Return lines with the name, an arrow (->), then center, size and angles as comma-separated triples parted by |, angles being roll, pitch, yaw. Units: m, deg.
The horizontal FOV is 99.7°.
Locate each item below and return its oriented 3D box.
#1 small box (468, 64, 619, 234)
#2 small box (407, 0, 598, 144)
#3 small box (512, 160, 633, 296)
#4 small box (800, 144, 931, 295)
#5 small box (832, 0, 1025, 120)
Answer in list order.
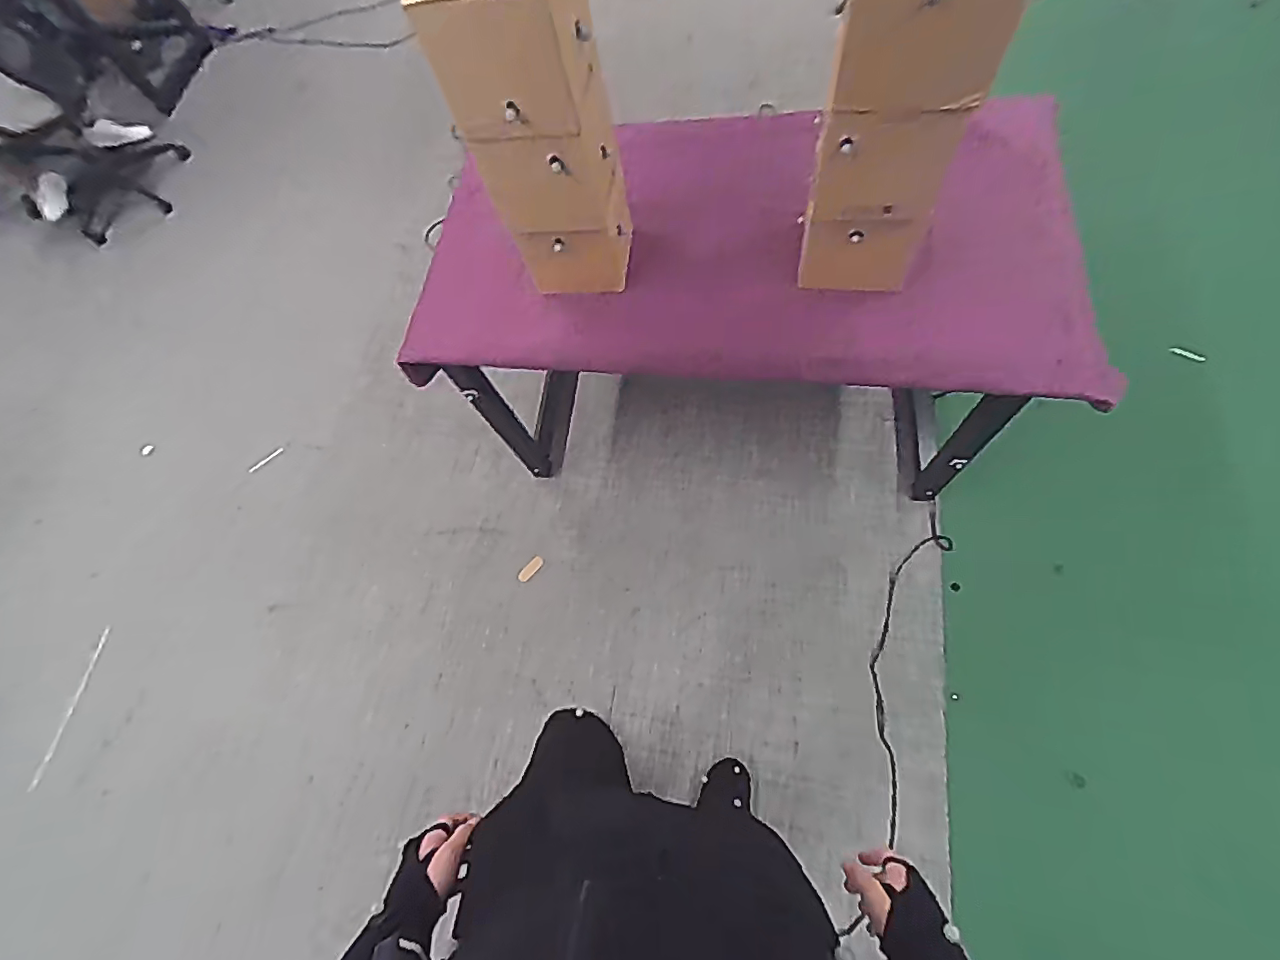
small box -> -0.138, -0.512, 0.855 | 0.179, 0.176, 0.168 | 4, 68, 11
small box -> -0.161, -0.570, 0.704 | 0.179, 0.176, 0.168 | 4, 68, 10
small box -> -0.115, -0.464, 1.012 | 0.179, 0.176, 0.168 | 2, 68, 11
small box -> 0.374, -0.436, 0.920 | 0.179, 0.176, 0.168 | 7, 69, 11
small box -> 0.325, -0.543, 0.614 | 0.179, 0.176, 0.168 | 9, 70, 12
